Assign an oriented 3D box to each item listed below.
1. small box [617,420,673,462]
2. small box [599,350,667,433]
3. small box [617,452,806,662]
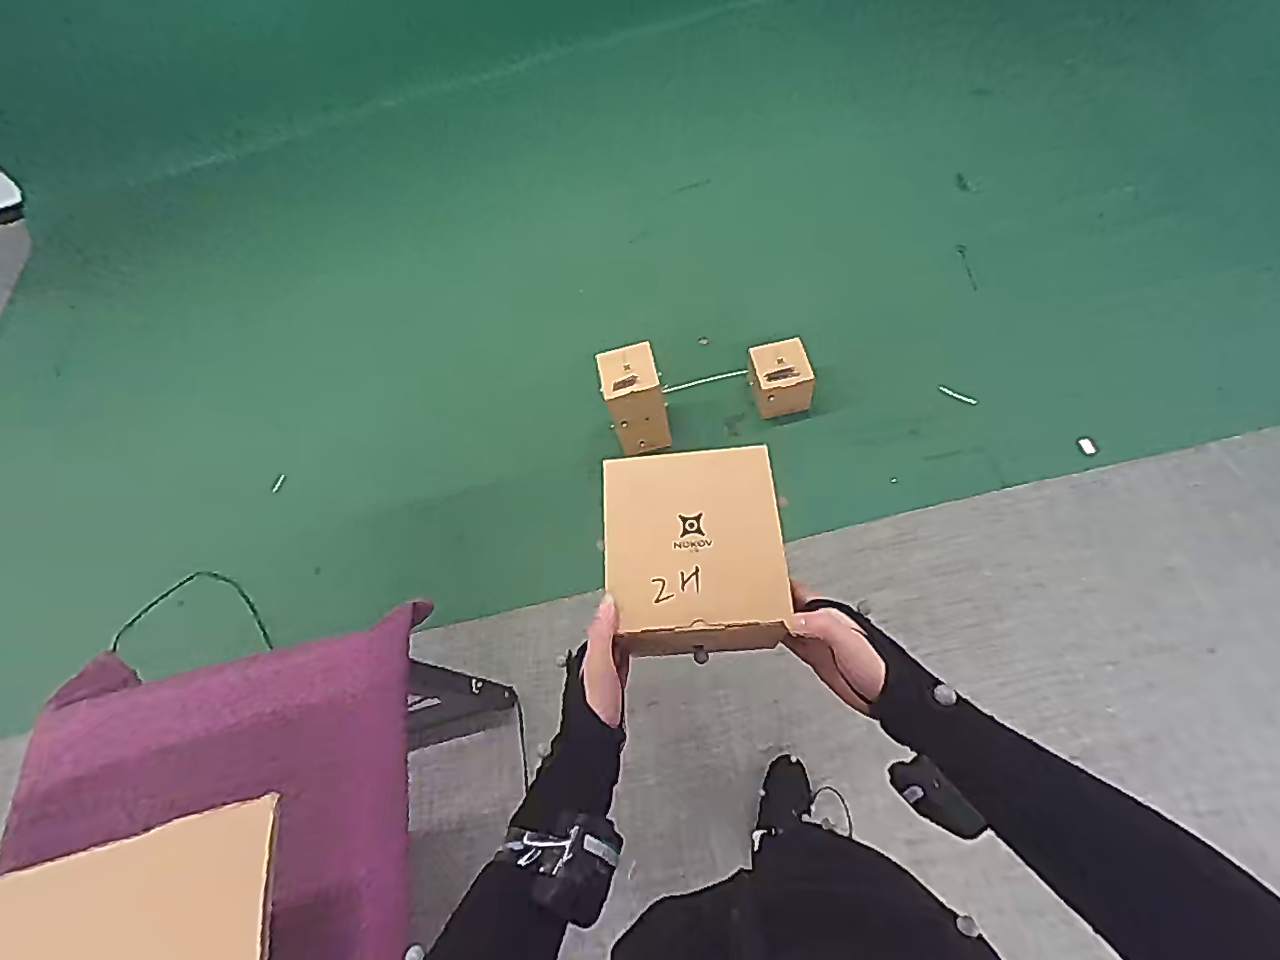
[{"bbox_3d":[0.007,-0.187,1.798,0.168,0.176,0.179,-14,61,3],"label":"small box"},{"bbox_3d":[-0.019,-0.262,1.655,0.168,0.176,0.179,-14,60,3],"label":"small box"},{"bbox_3d":[0.067,0.089,0.573,0.168,0.176,0.179,-5,65,6],"label":"small box"}]
